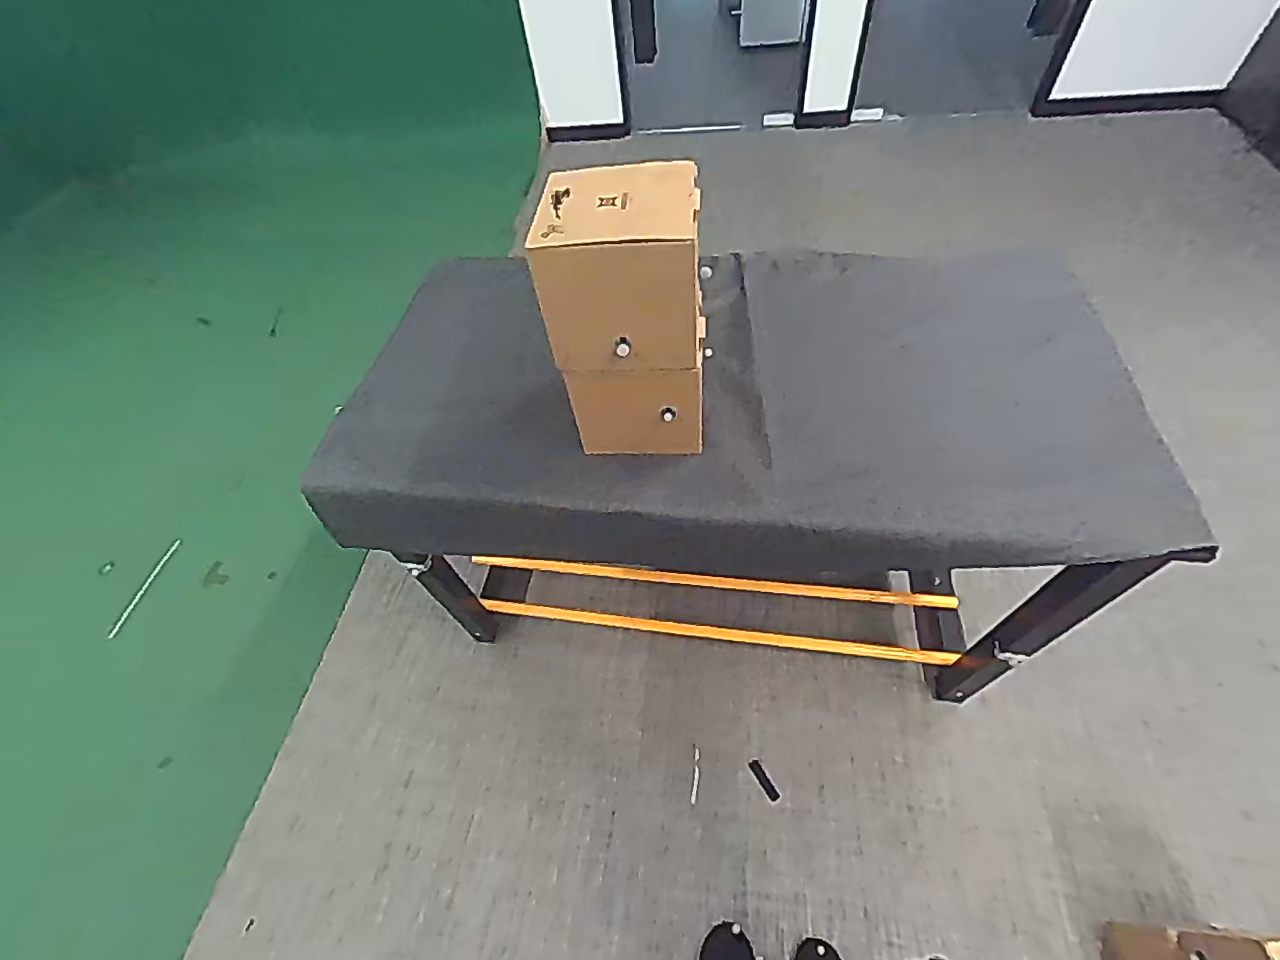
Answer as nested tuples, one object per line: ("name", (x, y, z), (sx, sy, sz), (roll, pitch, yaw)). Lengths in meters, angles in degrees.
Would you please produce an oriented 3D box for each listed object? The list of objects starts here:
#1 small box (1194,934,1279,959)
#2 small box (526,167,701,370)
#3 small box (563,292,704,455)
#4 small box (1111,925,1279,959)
("small box", (0.918, 0.727, 0.726), (0.179, 0.176, 0.168), (0, 54, 5))
("small box", (-0.018, -0.247, 0.649), (0.179, 0.176, 0.168), (0, 53, 7))
("small box", (0.003, -0.149, 0.779), (0.179, 0.176, 0.168), (0, 53, 7))
("small box", (0.921, 0.823, 0.860), (0.179, 0.176, 0.168), (-2, 53, 6))
